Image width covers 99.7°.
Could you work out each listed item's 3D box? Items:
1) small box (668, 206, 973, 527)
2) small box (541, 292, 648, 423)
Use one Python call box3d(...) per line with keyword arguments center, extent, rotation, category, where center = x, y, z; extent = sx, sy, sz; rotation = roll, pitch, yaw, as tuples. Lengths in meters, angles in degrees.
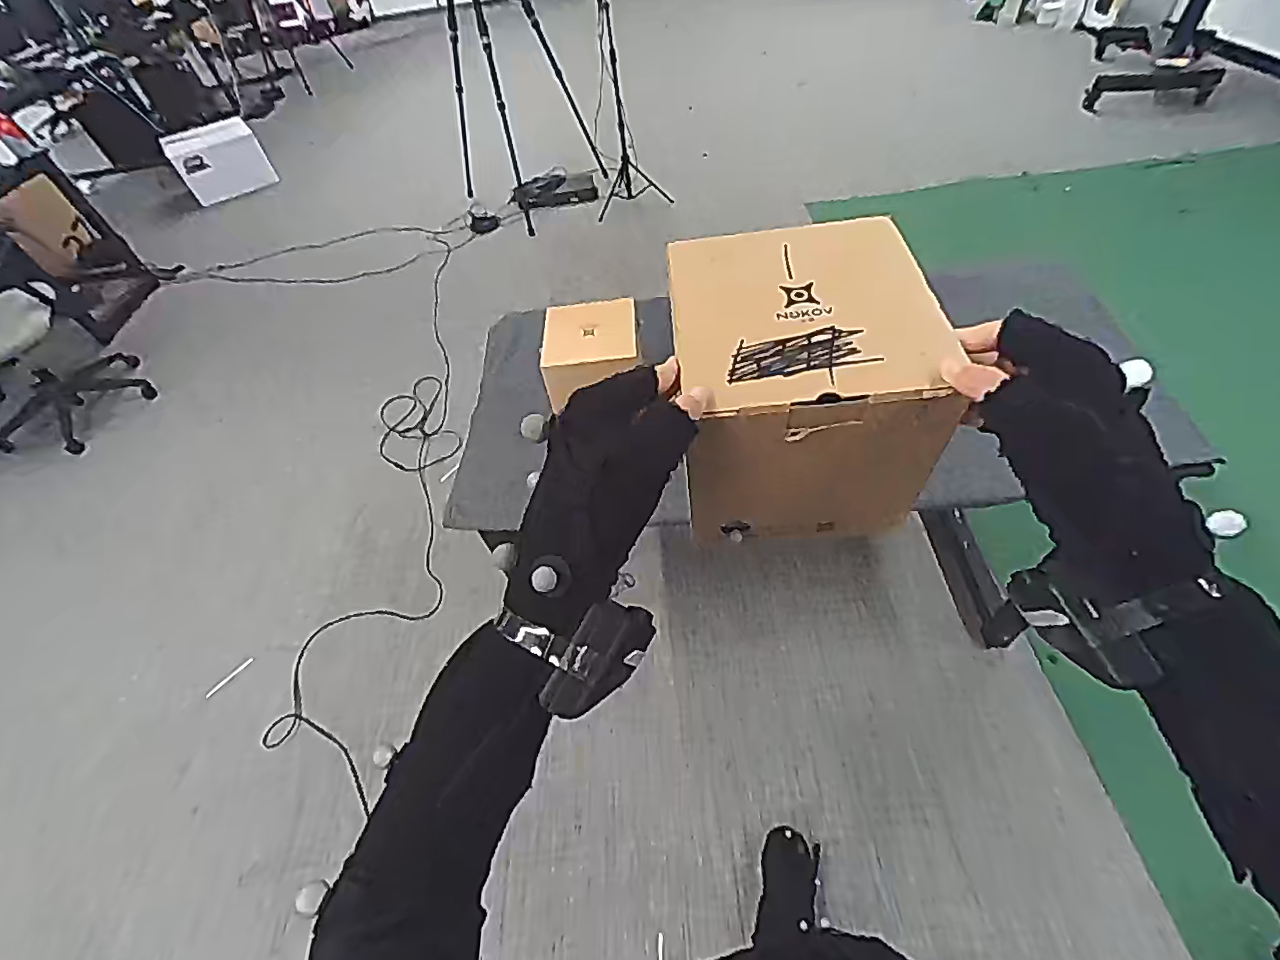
box3d(center=(0.113, -0.074, 0.415), extent=(0.168, 0.176, 0.179), rotation=(-5, 55, 5), category="small box")
box3d(center=(-0.078, -0.220, 1.007), extent=(0.168, 0.176, 0.179), rotation=(-6, 51, 4), category="small box")
